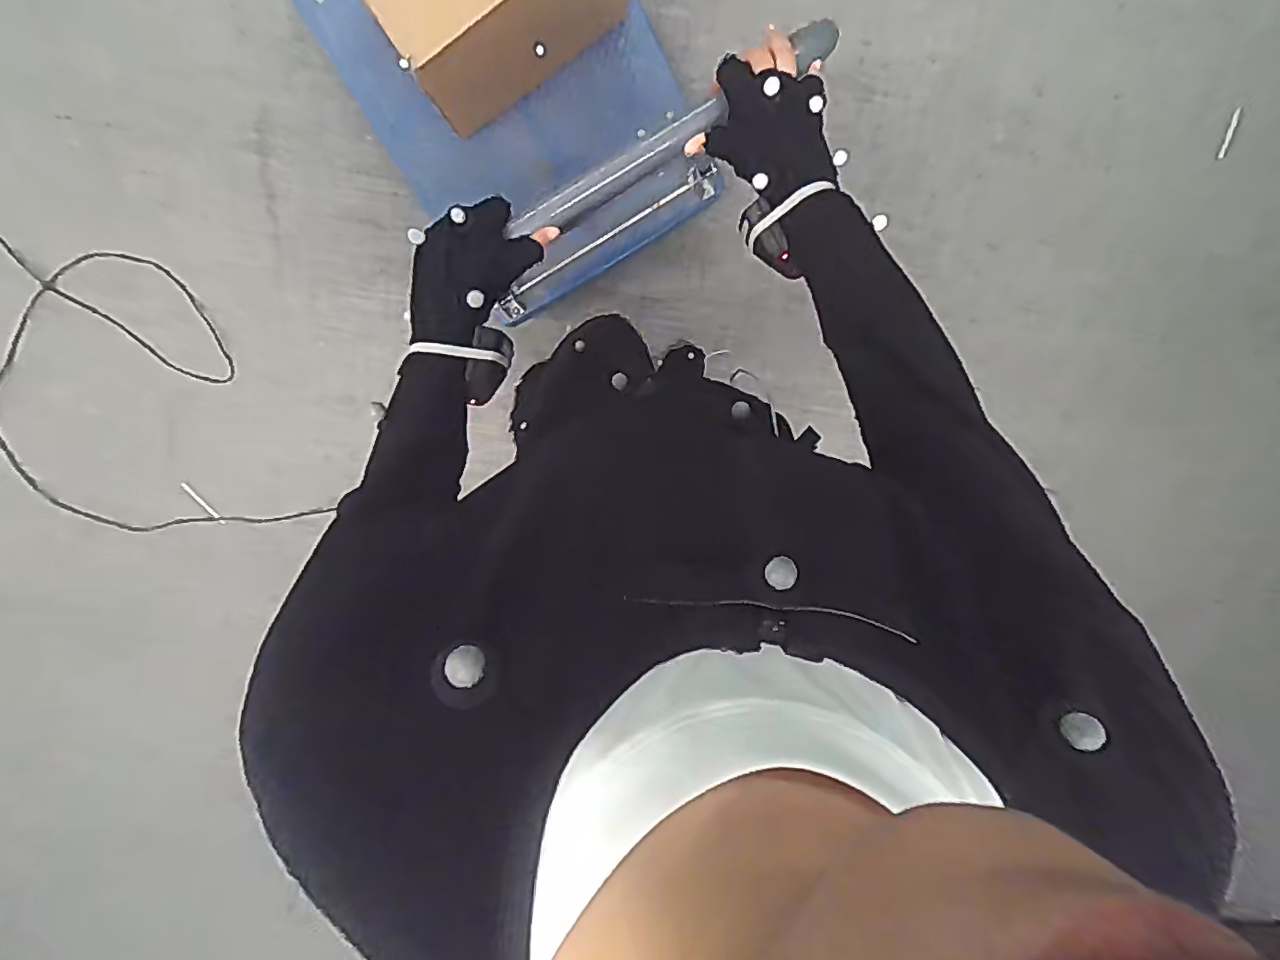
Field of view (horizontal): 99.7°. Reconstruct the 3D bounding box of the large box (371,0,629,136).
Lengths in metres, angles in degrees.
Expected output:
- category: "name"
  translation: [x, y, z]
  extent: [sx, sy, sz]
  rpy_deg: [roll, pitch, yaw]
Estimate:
- category: "large box"
  translation: [-0.260, -0.894, 0.917]
  extent: [0.408, 0.320, 0.320]
  rpy_deg: [-34, 104, 7]
